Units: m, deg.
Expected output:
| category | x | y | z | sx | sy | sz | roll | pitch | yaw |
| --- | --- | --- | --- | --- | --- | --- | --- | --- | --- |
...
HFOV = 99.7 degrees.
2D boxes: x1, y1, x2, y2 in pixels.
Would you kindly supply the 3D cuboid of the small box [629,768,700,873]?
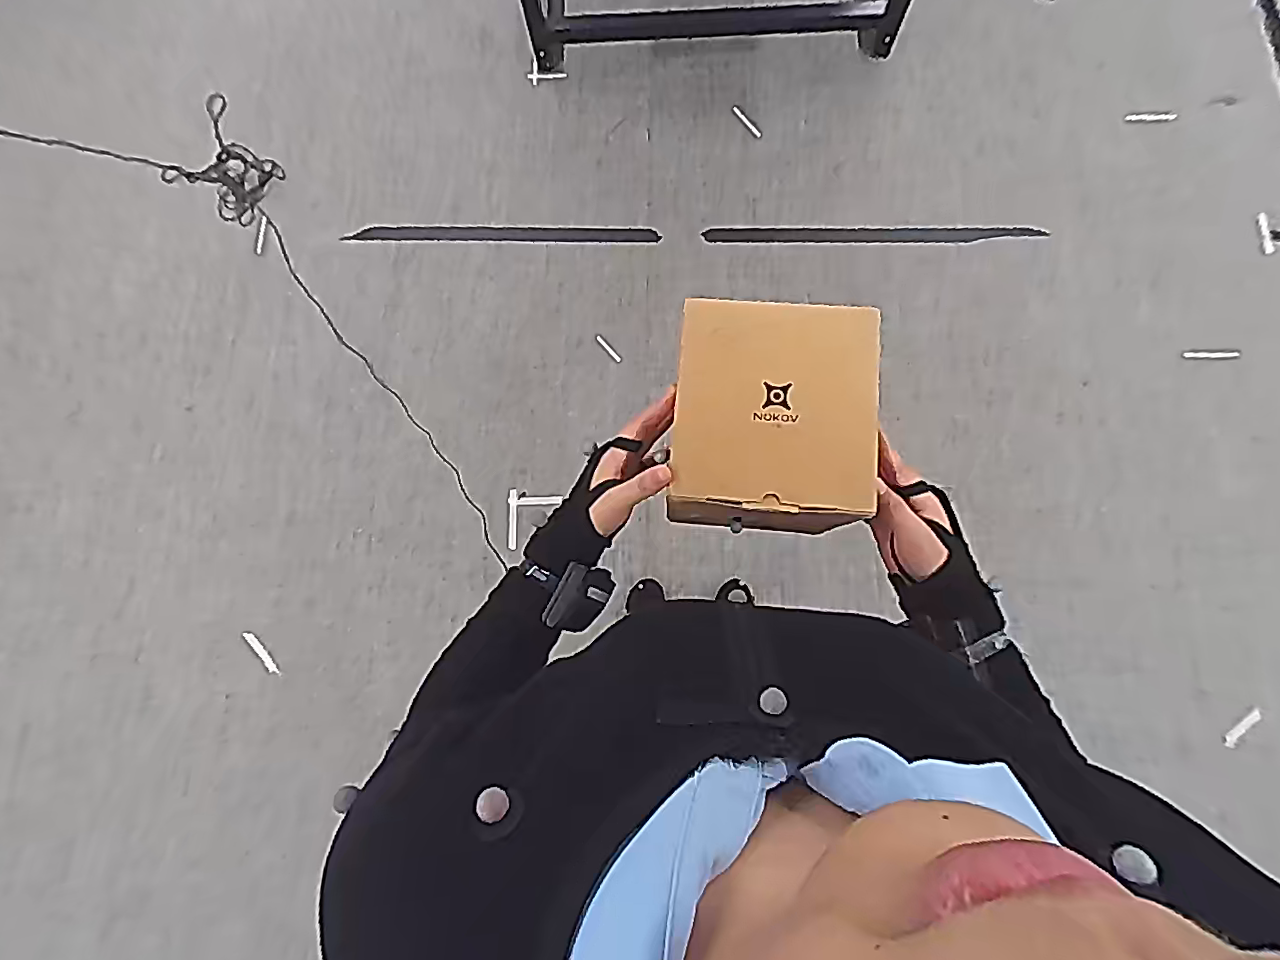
| category | x | y | z | sx | sy | sz | roll | pitch | yaw |
| --- | --- | --- | --- | --- | --- | --- | --- | --- | --- |
| small box | 0.057 | 0.818 | 1.316 | 0.168 | 0.176 | 0.179 | -2 | 79 | 2 |
